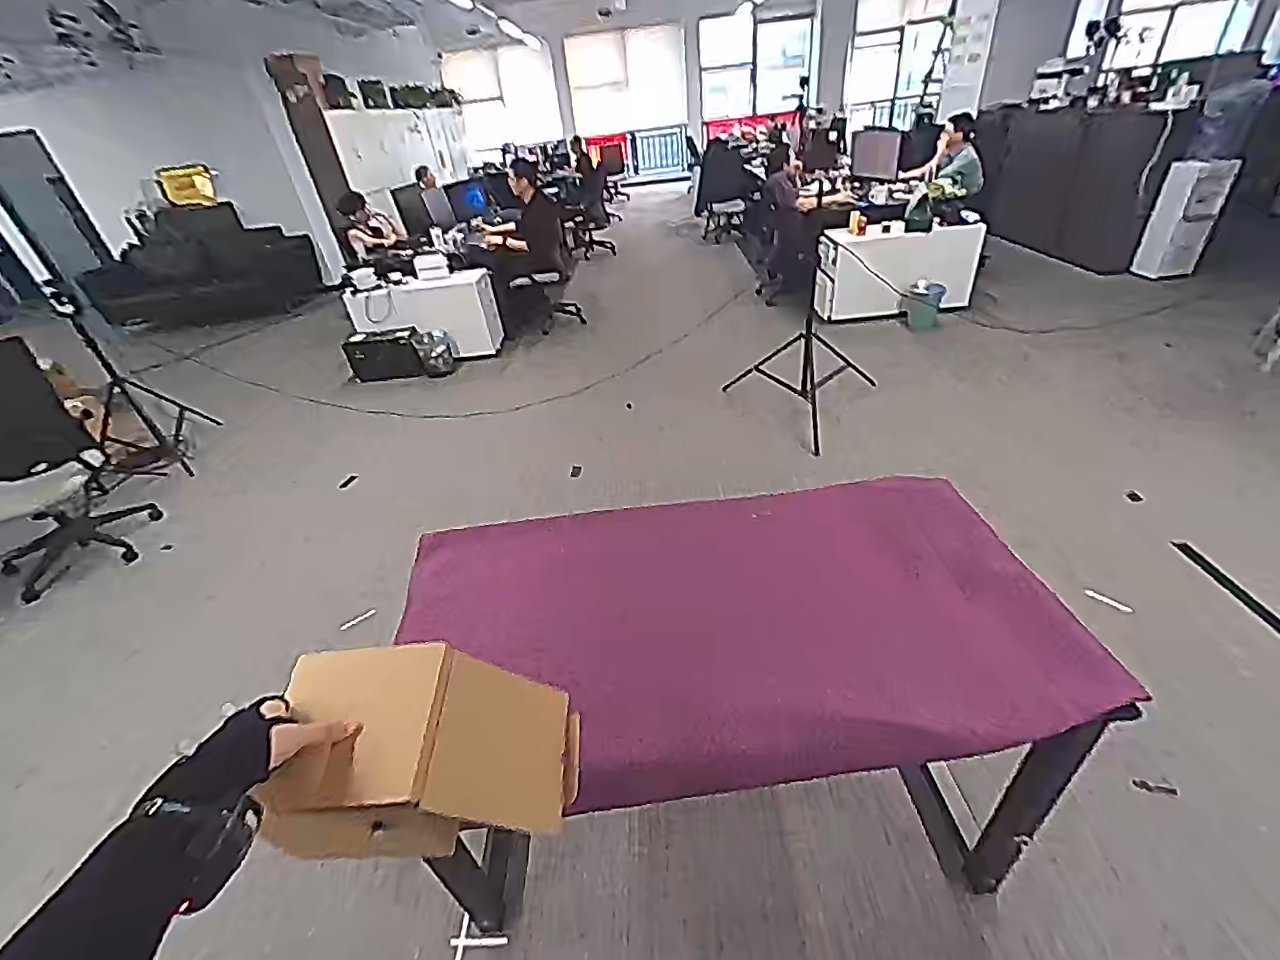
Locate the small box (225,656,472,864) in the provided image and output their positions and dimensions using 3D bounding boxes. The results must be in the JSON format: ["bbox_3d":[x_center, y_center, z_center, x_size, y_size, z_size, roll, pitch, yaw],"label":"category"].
[{"bbox_3d":[-0.302,0.317,0.614,0.179,0.176,0.168,-1,42,-2],"label":"small box"}]
